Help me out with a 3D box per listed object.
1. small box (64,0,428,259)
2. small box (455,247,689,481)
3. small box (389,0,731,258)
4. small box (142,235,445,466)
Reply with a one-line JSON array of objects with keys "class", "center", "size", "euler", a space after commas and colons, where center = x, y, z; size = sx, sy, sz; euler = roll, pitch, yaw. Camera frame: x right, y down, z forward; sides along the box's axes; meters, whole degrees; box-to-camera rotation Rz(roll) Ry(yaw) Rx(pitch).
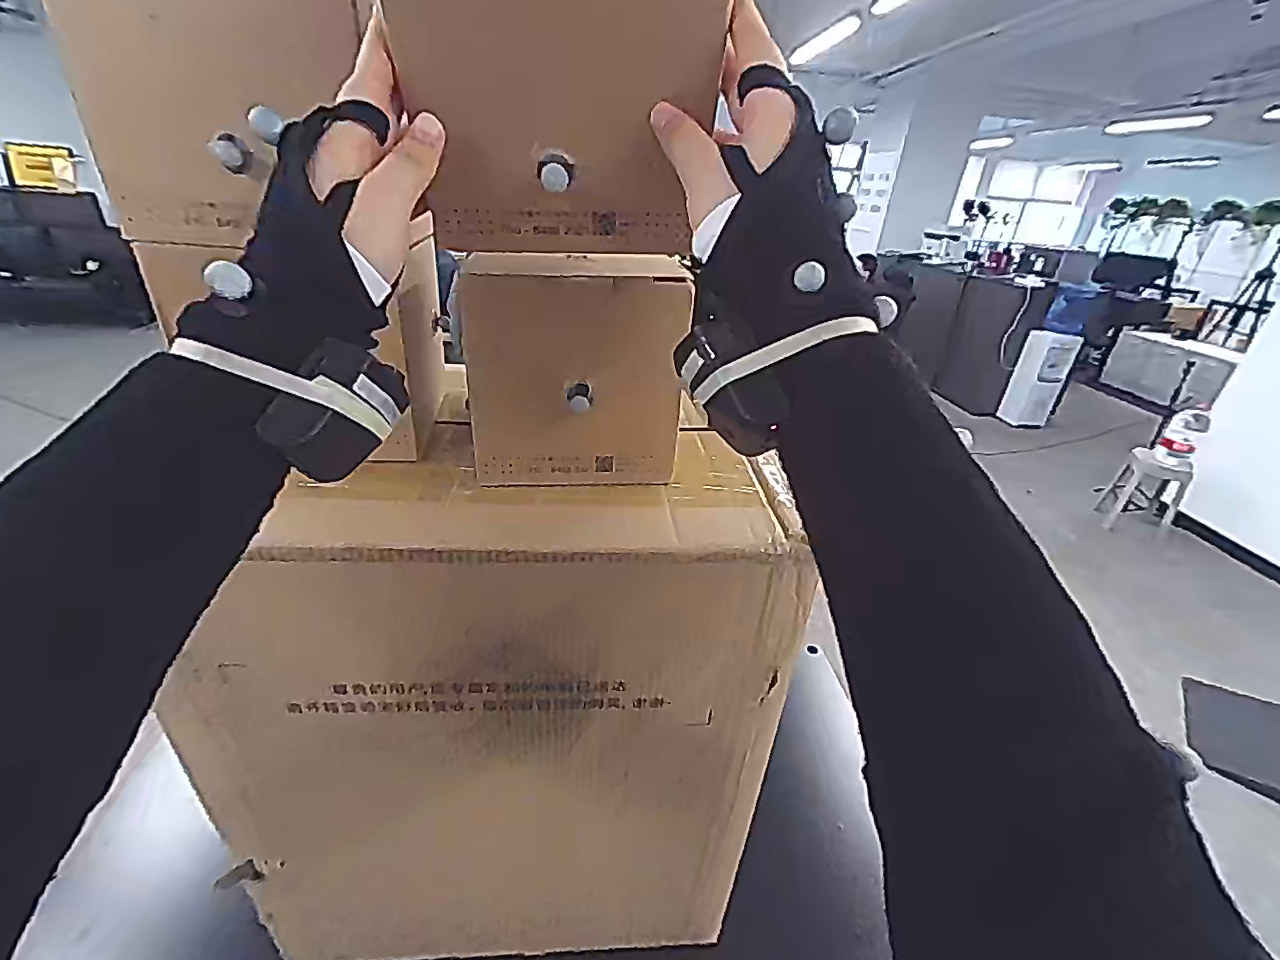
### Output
[{"class": "small box", "center": [-0.263, -0.269, 0.401], "size": [0.168, 0.176, 0.179], "euler": [0, 29, -9]}, {"class": "small box", "center": [-0.058, -0.109, 0.482], "size": [0.168, 0.176, 0.179], "euler": [0, 31, -9]}, {"class": "small box", "center": [-0.045, -0.261, 0.333], "size": [0.168, 0.176, 0.179], "euler": [-1, 52, -4]}, {"class": "small box", "center": [-0.274, -0.125, 0.482], "size": [0.168, 0.176, 0.179], "euler": [-1, 31, -11]}]
